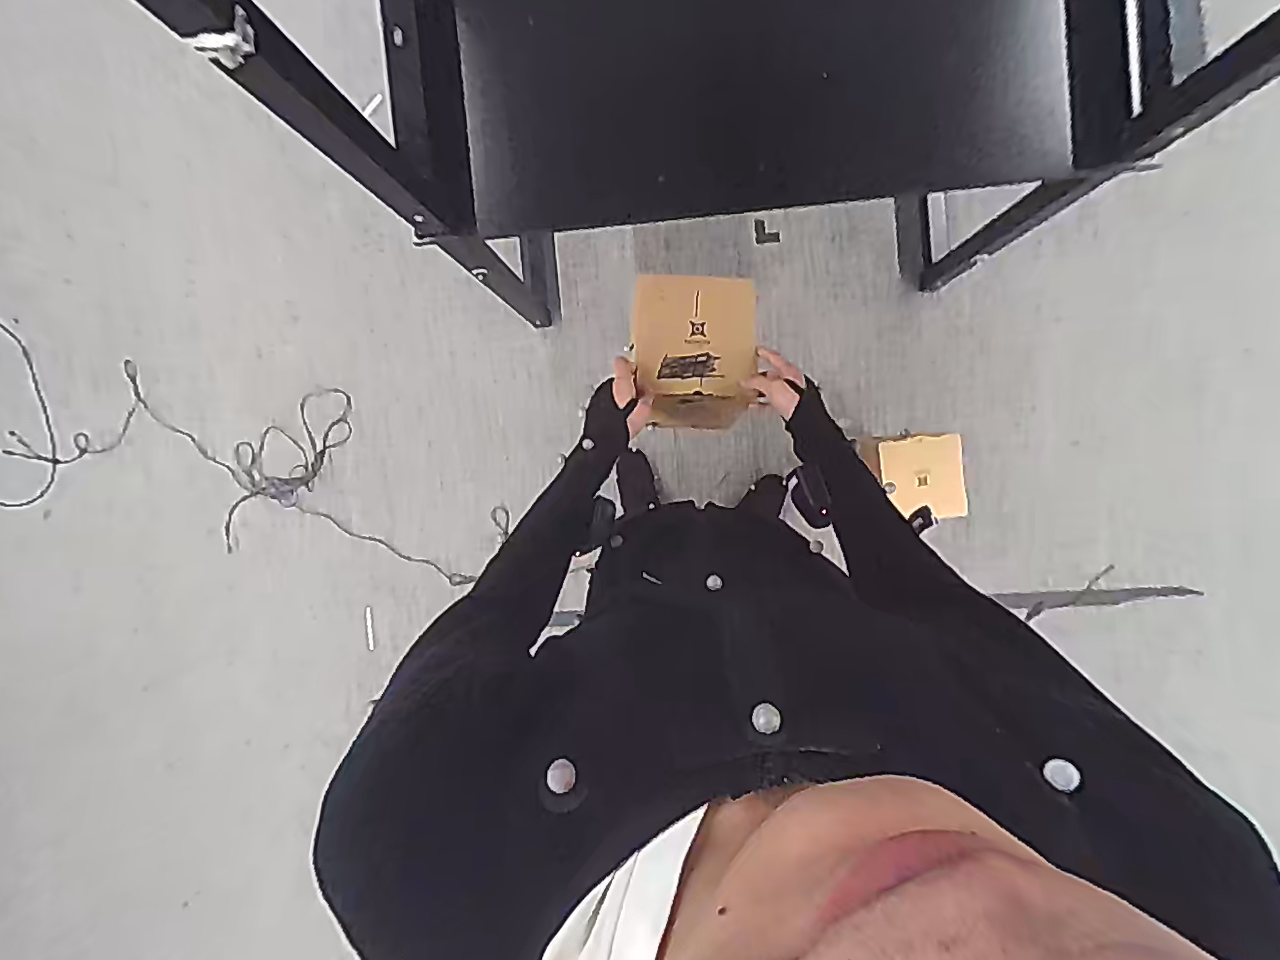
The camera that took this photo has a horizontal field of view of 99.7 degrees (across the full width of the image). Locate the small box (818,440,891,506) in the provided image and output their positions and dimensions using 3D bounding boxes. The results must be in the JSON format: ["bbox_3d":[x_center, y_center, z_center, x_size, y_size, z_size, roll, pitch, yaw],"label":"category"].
[{"bbox_3d":[0.614,-0.024,1.518,0.179,0.176,0.168,-6,92,5],"label":"small box"}]

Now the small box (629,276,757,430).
[{"bbox_3d":[0.072,-0.178,0.805,0.168,0.176,0.179,1,79,-4],"label":"small box"}]

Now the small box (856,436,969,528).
[{"bbox_3d":[0.592,-0.001,1.192,0.168,0.176,0.179,-8,92,5],"label":"small box"}]
